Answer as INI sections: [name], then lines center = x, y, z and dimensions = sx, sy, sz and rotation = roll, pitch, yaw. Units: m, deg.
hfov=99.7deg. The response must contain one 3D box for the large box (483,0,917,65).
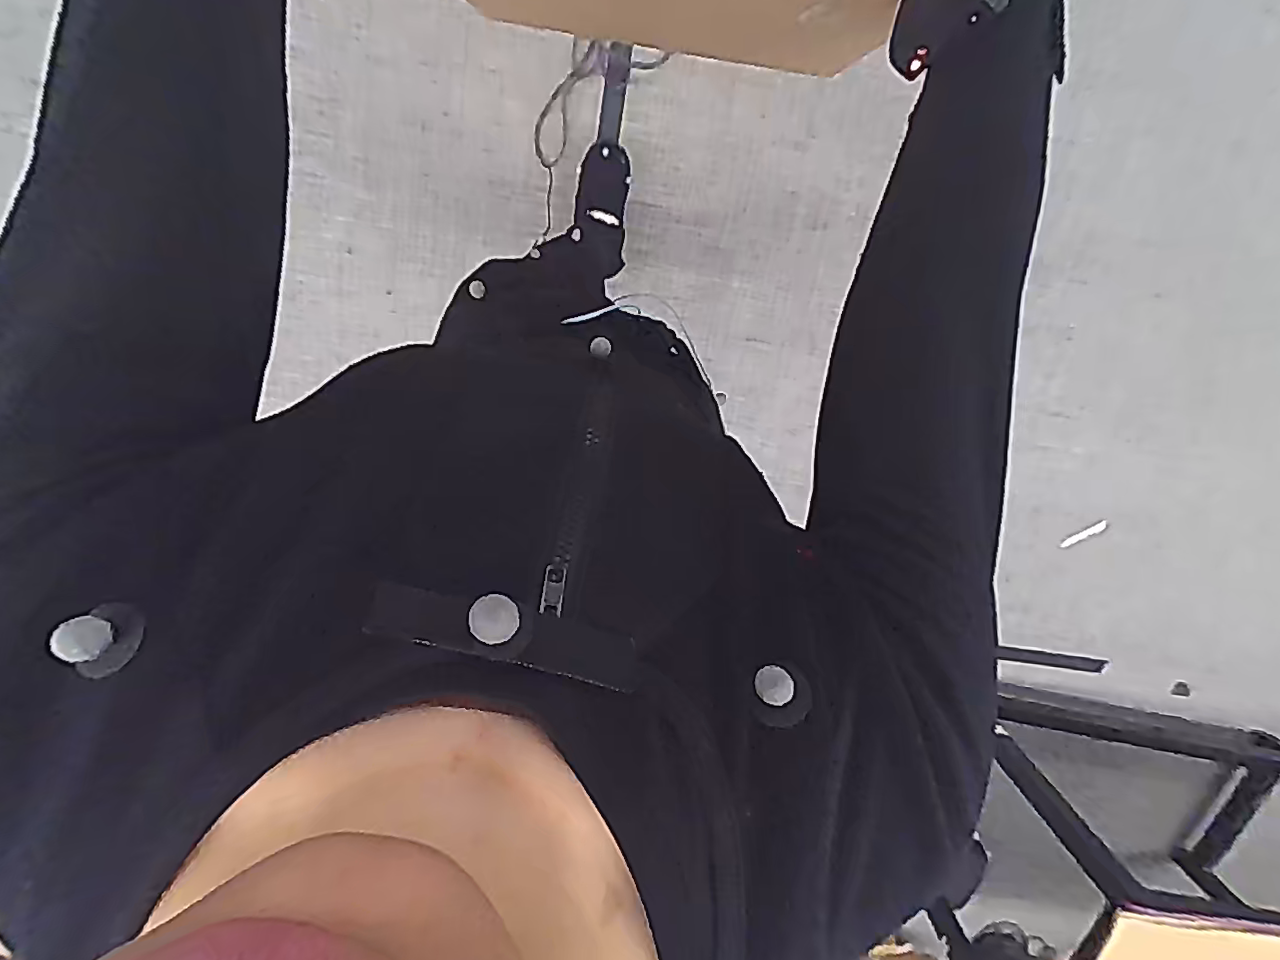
[large box]
center = 0.038, -0.560, 0.415
dimensions = 0.408, 0.320, 0.320
rotation = 9, 121, -1
